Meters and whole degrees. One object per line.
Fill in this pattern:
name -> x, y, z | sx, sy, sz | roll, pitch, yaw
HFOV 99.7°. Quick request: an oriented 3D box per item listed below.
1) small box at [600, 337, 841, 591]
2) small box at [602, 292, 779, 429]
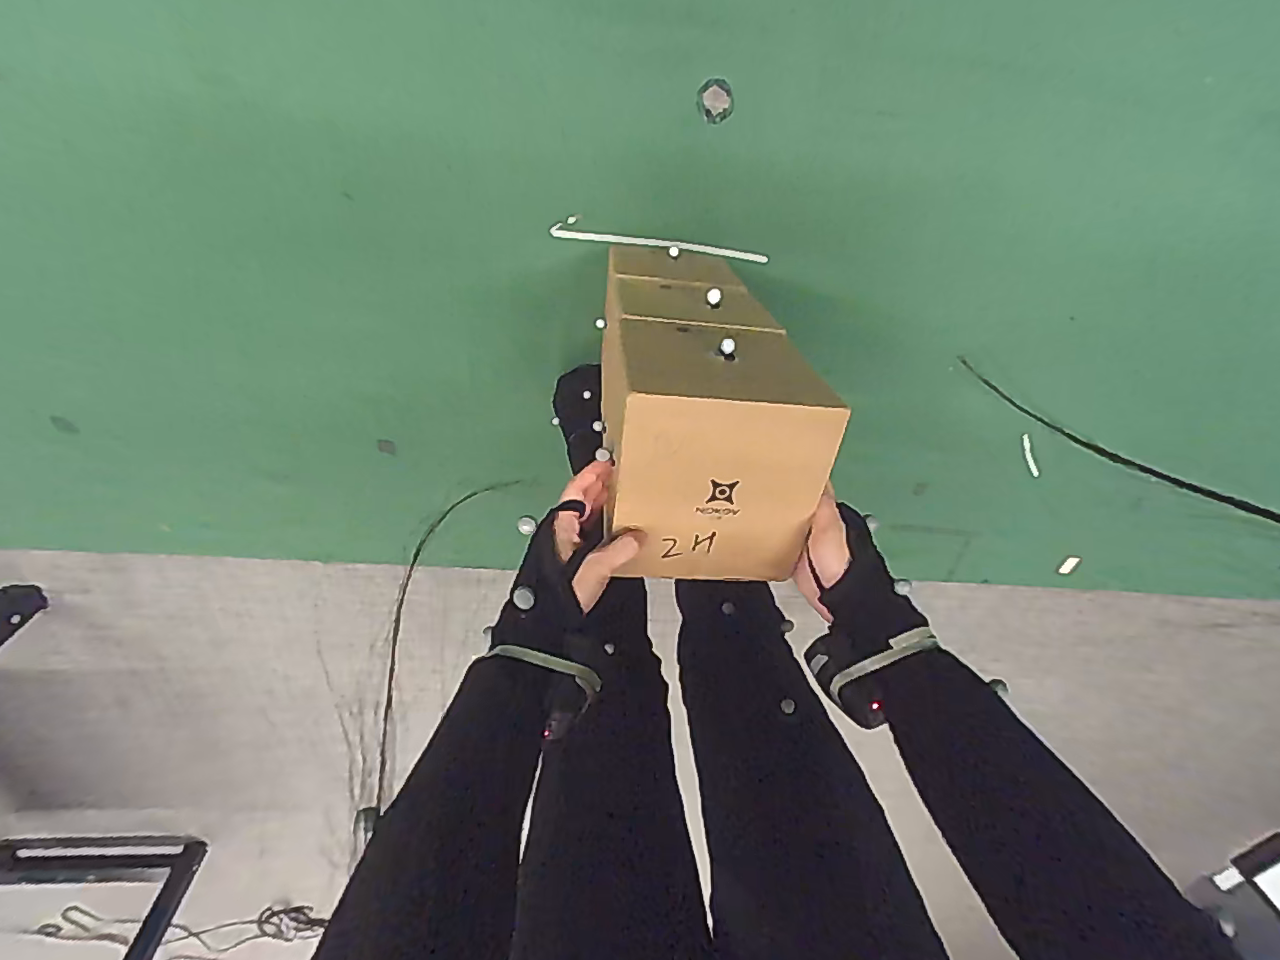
small box -> 0.052, -0.019, 0.497 | 0.168, 0.176, 0.179 | 2, 124, -7
small box -> 0.043, -0.111, 0.634 | 0.168, 0.176, 0.179 | 2, 123, -6
